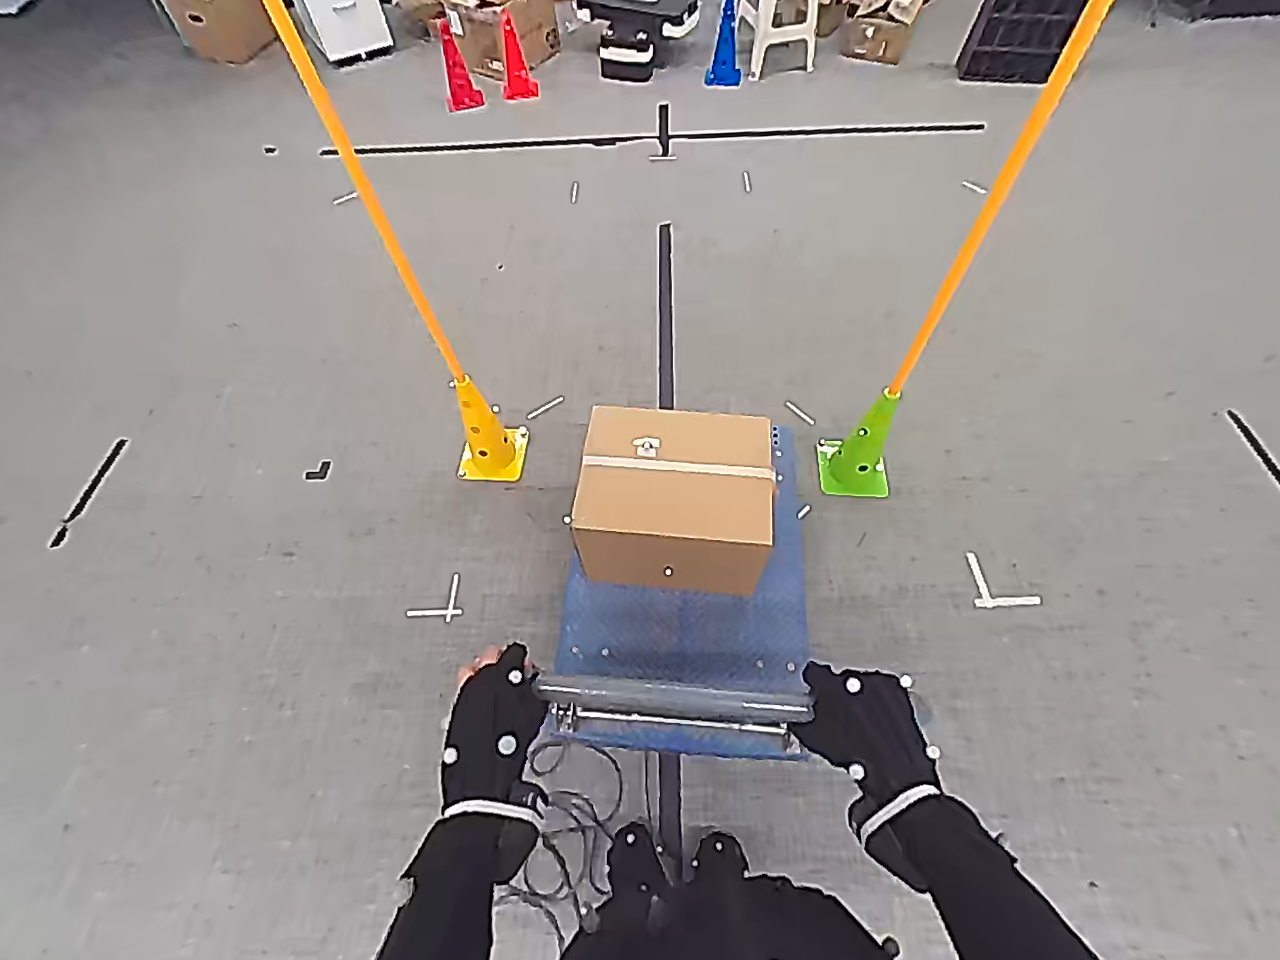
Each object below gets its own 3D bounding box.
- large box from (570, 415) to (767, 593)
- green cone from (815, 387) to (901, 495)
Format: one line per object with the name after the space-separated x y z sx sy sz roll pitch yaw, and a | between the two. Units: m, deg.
0.078 0.065 1.283 0.408 0.320 0.320 4 59 6 | large box
0.651 -0.130 1.544 0.202 0.368 0.200 3 59 3 | green cone
